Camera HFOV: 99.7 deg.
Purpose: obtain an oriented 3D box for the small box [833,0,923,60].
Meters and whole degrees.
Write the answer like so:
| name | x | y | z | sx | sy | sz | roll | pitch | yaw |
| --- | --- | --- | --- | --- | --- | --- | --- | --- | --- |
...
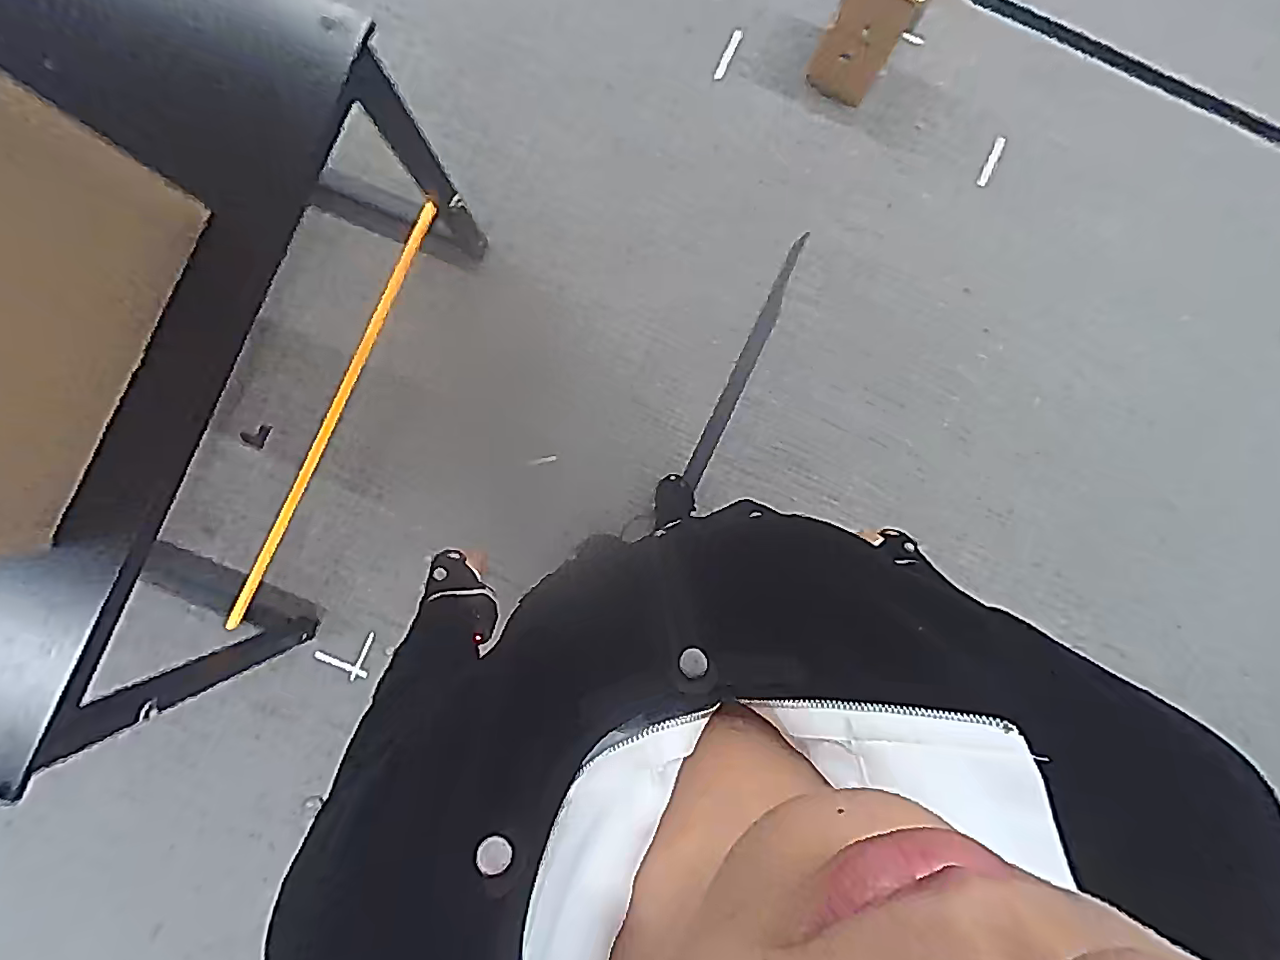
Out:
| name | x | y | z | sx | sy | sz | roll | pitch | yaw |
| --- | --- | --- | --- | --- | --- | --- | --- | --- | --- |
| small box | 0.584 | -1.159 | 1.270 | 0.168 | 0.176 | 0.179 | 28 | 90 | -1 |

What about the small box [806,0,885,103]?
| name | x | y | z | sx | sy | sz | roll | pitch | yaw |
| --- | --- | --- | --- | --- | --- | --- | --- | --- | --- |
| small box | 0.571 | -1.157 | 1.434 | 0.179 | 0.176 | 0.168 | 28 | 89 | -2 |
